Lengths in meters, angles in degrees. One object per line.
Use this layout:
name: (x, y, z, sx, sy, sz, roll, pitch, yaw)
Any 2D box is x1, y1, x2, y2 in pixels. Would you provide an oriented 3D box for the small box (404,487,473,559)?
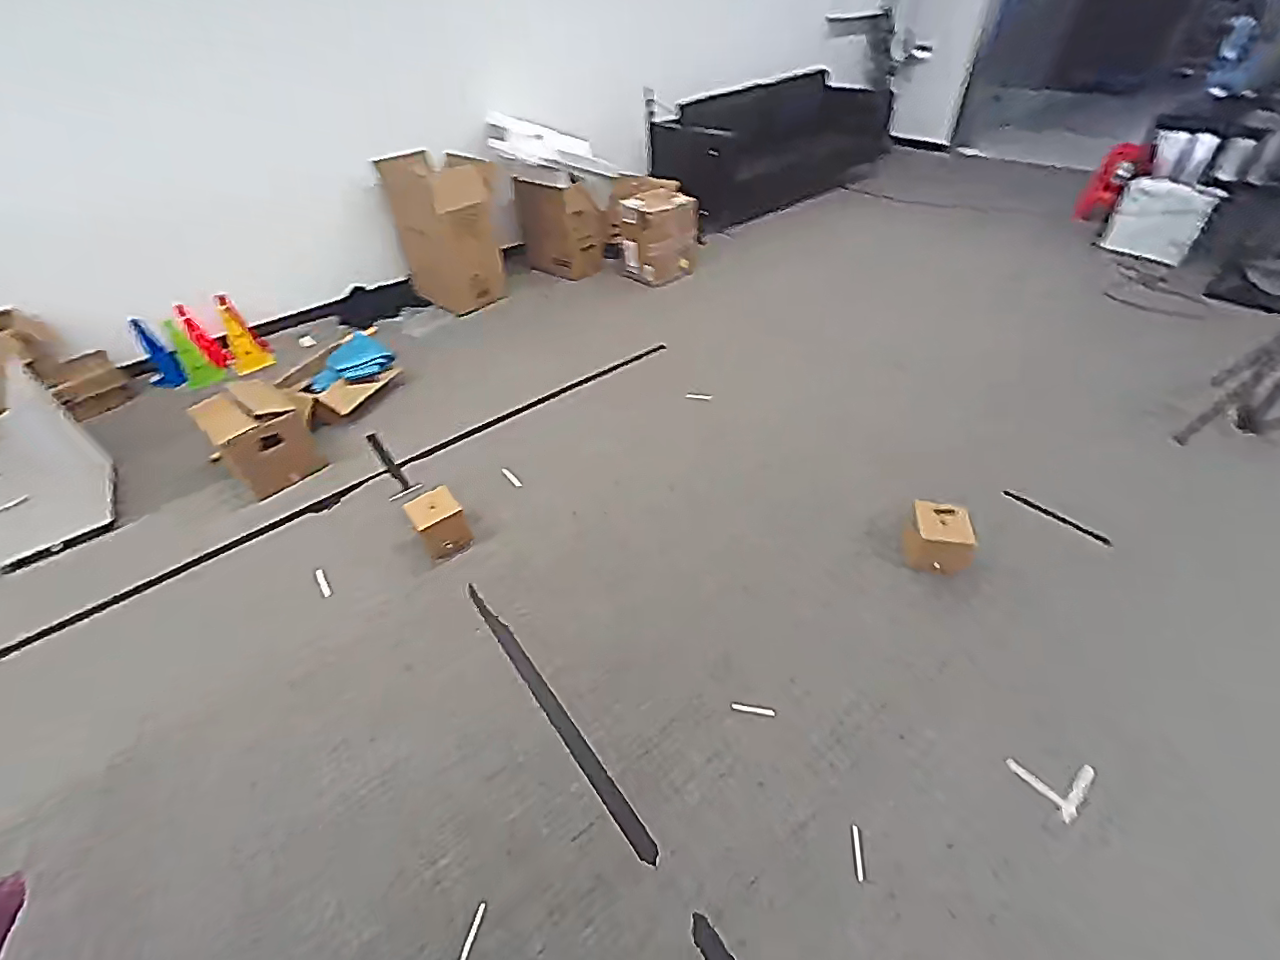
small box: (-0.760, 0.163, 2.043, 0.168, 0.176, 0.179, -31, 49, -25)

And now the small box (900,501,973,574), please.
small box: (1.011, 0.197, 1.860, 0.168, 0.176, 0.179, 5, 44, 11)
